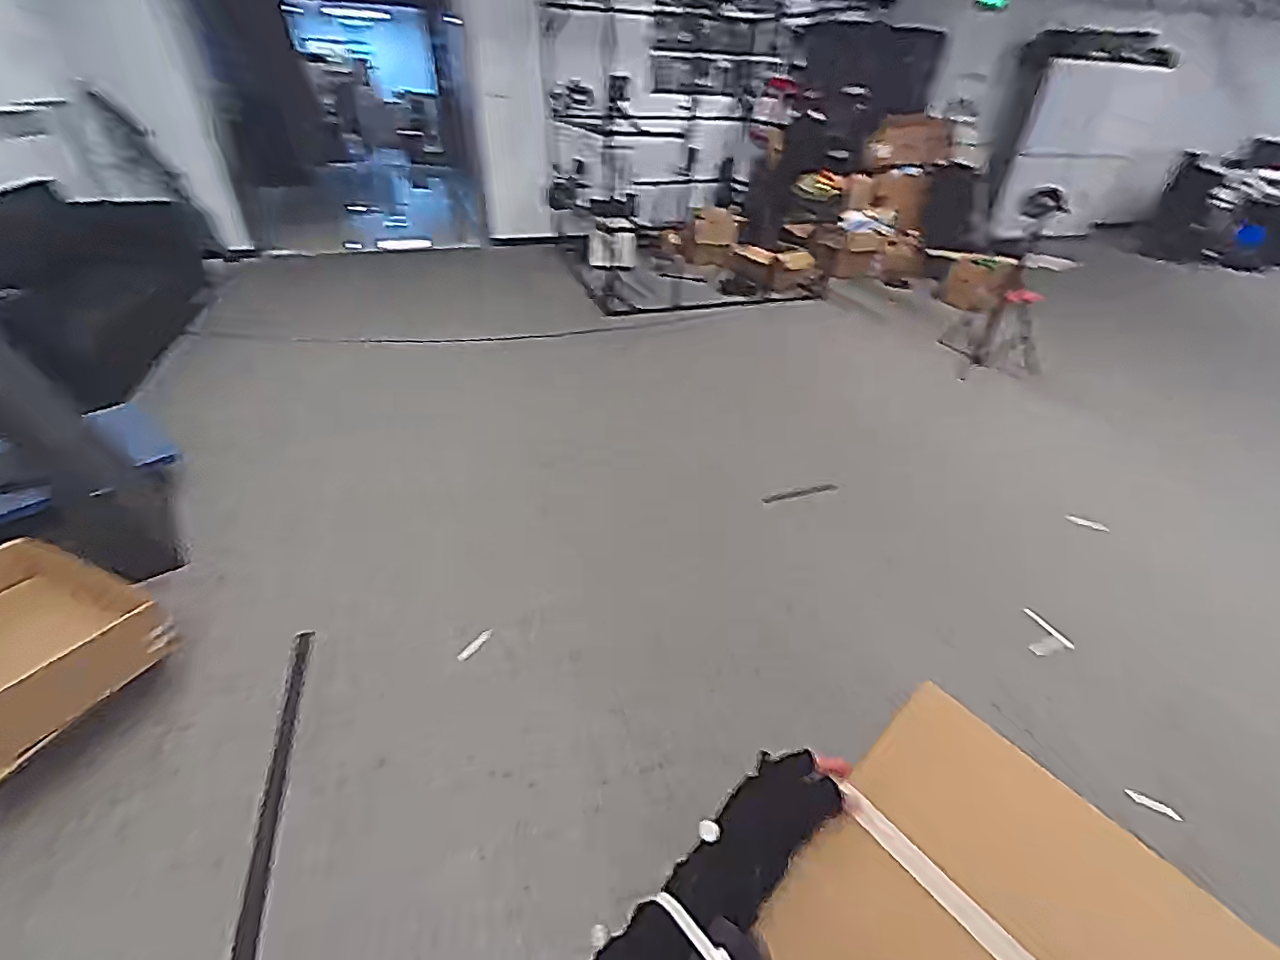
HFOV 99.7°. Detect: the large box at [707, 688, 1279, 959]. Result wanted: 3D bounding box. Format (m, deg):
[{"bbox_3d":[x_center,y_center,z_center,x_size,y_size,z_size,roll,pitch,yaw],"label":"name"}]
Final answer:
[{"bbox_3d":[0.319,0.496,0.511,0.320,0.320,0.408,-34,54,-26],"label":"large box"}]
